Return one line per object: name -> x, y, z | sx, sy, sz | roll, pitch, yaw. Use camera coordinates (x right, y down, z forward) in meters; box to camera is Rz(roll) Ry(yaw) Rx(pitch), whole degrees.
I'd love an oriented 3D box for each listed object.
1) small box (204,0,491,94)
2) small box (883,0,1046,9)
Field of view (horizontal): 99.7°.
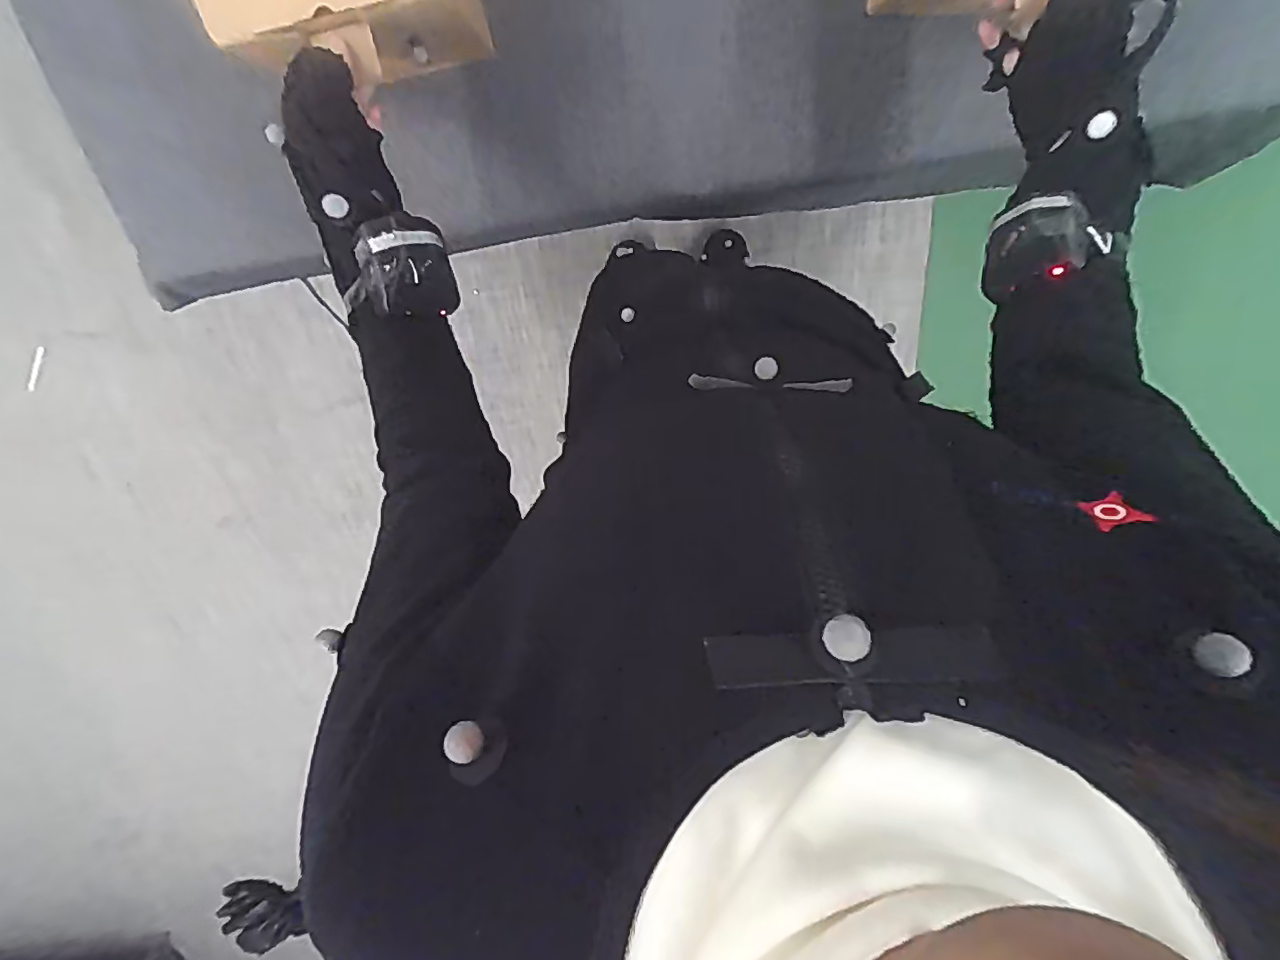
small box -> -0.232, -0.426, 0.418 | 0.168, 0.176, 0.179 | -11, 115, 4
small box -> 0.281, -0.468, 0.387 | 0.168, 0.176, 0.179 | -1, 118, 0
